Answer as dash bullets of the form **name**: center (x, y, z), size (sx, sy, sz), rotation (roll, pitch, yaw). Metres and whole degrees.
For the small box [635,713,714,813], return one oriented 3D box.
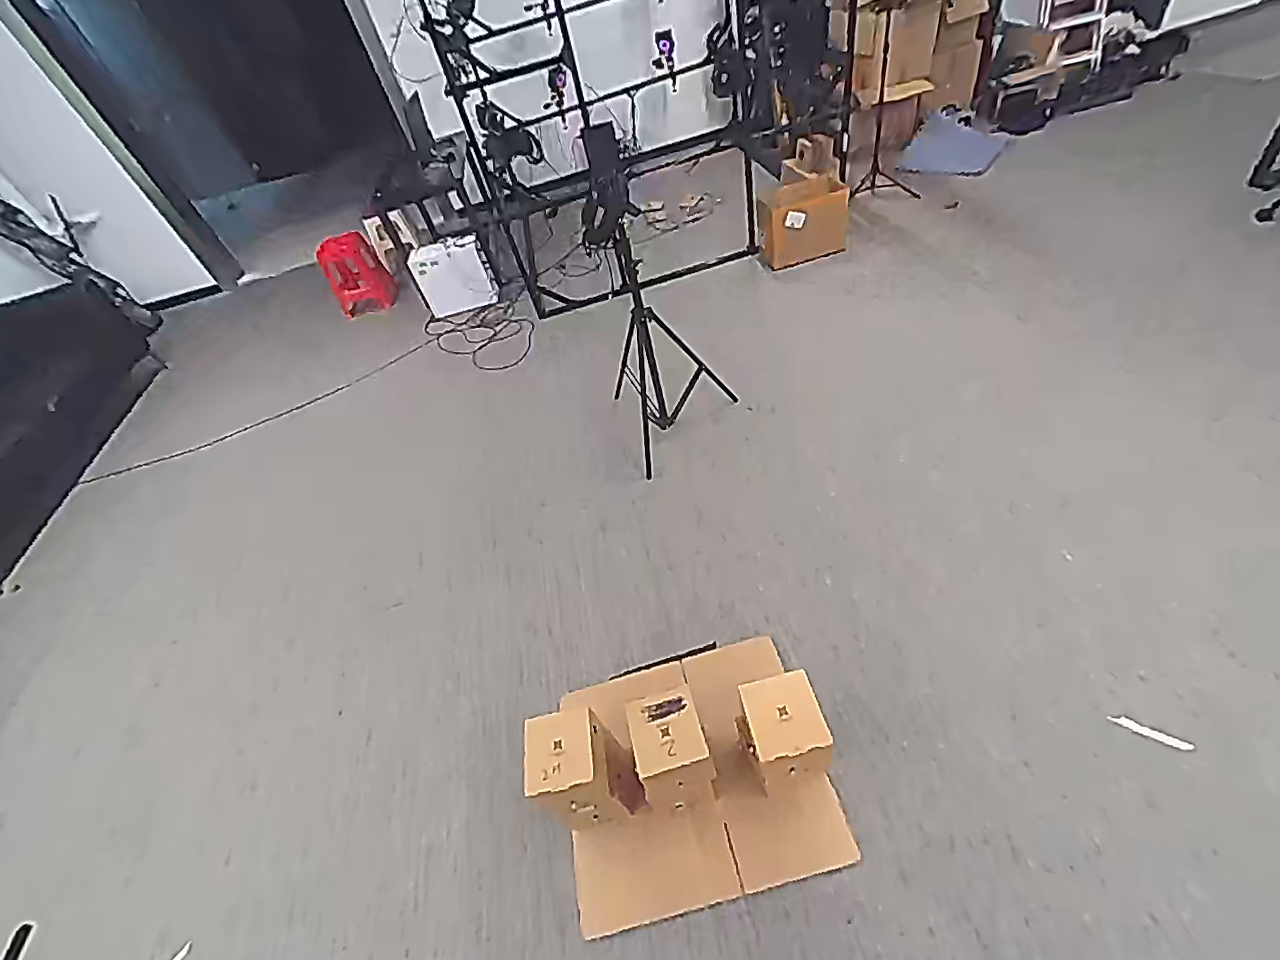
- **small box**: center (0.091, 0.742, 1.417), size (0.168, 0.176, 0.179), rotation (-14, 46, 2)

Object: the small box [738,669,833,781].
- **small box**: center (0.336, 0.578, 1.272), size (0.168, 0.176, 0.179), rotation (-16, 46, 1)

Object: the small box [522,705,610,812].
- **small box**: center (-0.179, 0.681, 1.320), size (0.168, 0.176, 0.179), rotation (-15, 46, 3)

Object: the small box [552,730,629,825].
- **small box**: center (-0.133, 0.794, 1.433), size (0.168, 0.176, 0.179), rotation (-15, 46, 2)

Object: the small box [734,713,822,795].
- **small box**: center (0.363, 0.680, 1.397), size (0.179, 0.176, 0.168), rotation (-23, 46, -6)
